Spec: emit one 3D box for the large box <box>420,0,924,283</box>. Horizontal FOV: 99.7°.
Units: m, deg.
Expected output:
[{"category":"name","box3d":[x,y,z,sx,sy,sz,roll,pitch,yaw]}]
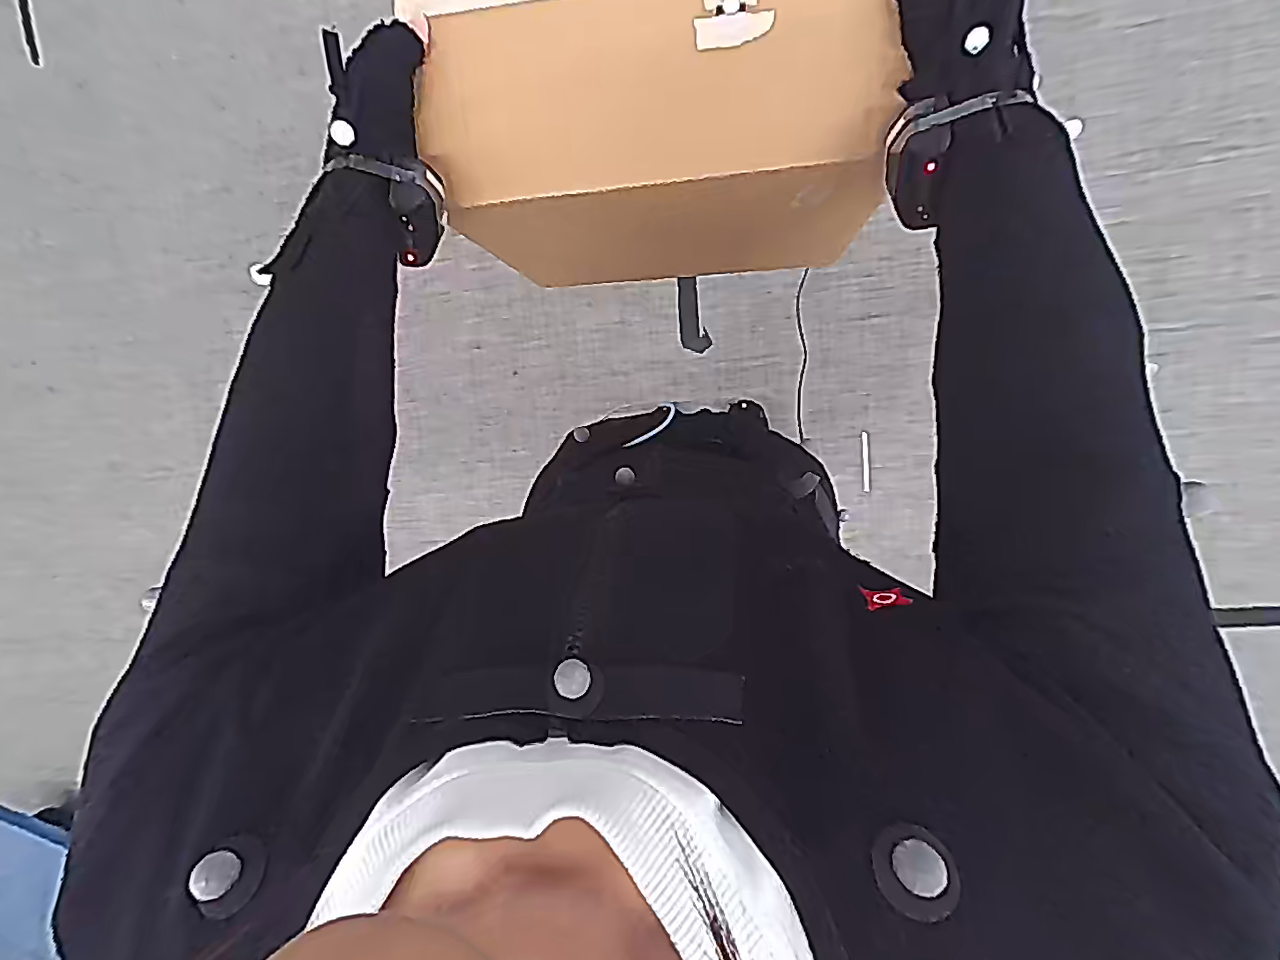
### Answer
[{"category":"large box","box3d":[0.030,-0.418,0.570,0.408,0.320,0.320,-2,98,8]}]
